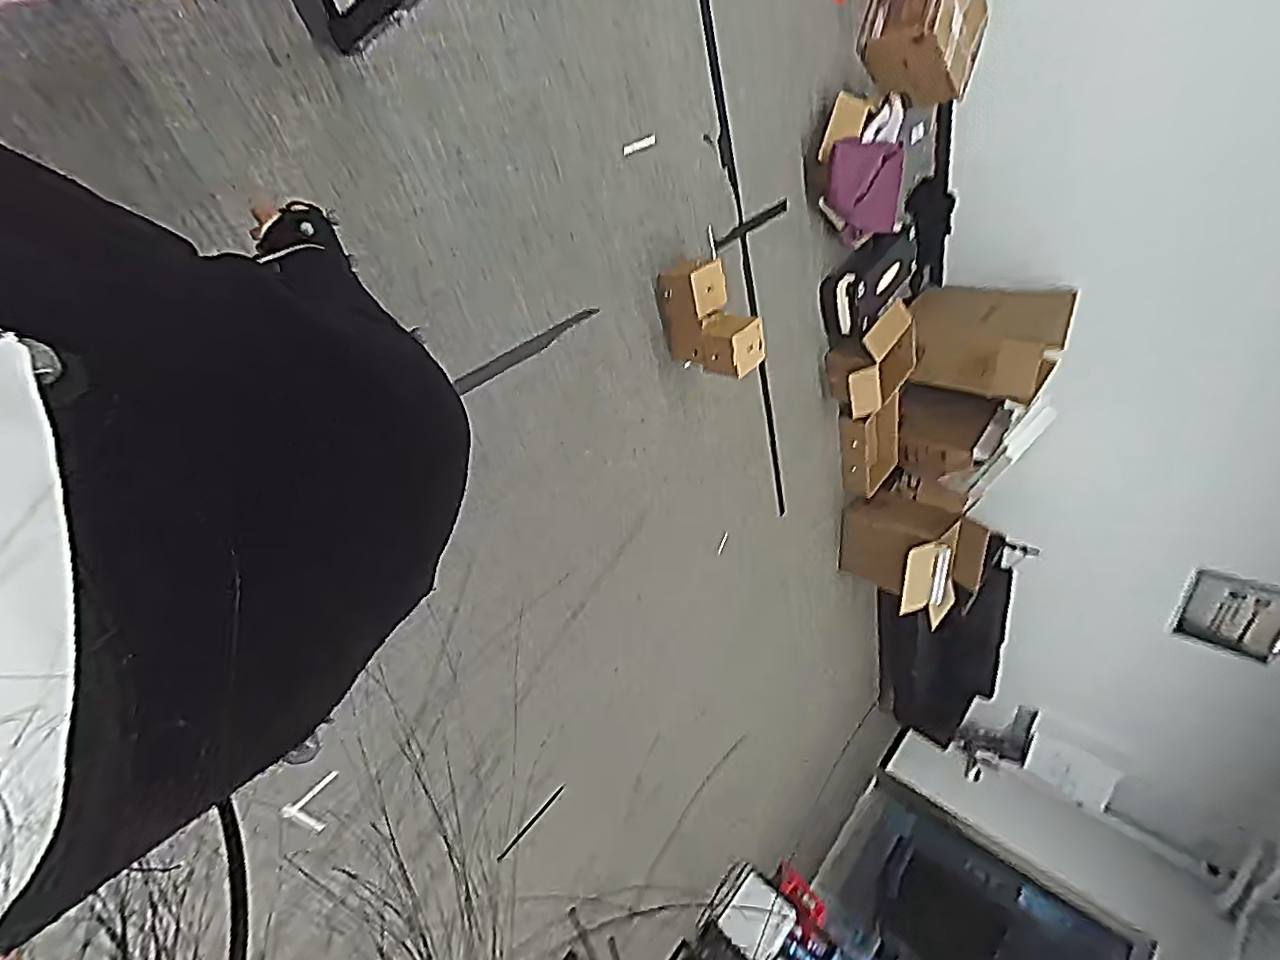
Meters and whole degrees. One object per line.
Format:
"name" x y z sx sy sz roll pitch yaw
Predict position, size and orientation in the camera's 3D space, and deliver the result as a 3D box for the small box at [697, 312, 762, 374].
"small box" 0.327 -0.512 2.008 0.179 0.176 0.168 -39 130 -27
